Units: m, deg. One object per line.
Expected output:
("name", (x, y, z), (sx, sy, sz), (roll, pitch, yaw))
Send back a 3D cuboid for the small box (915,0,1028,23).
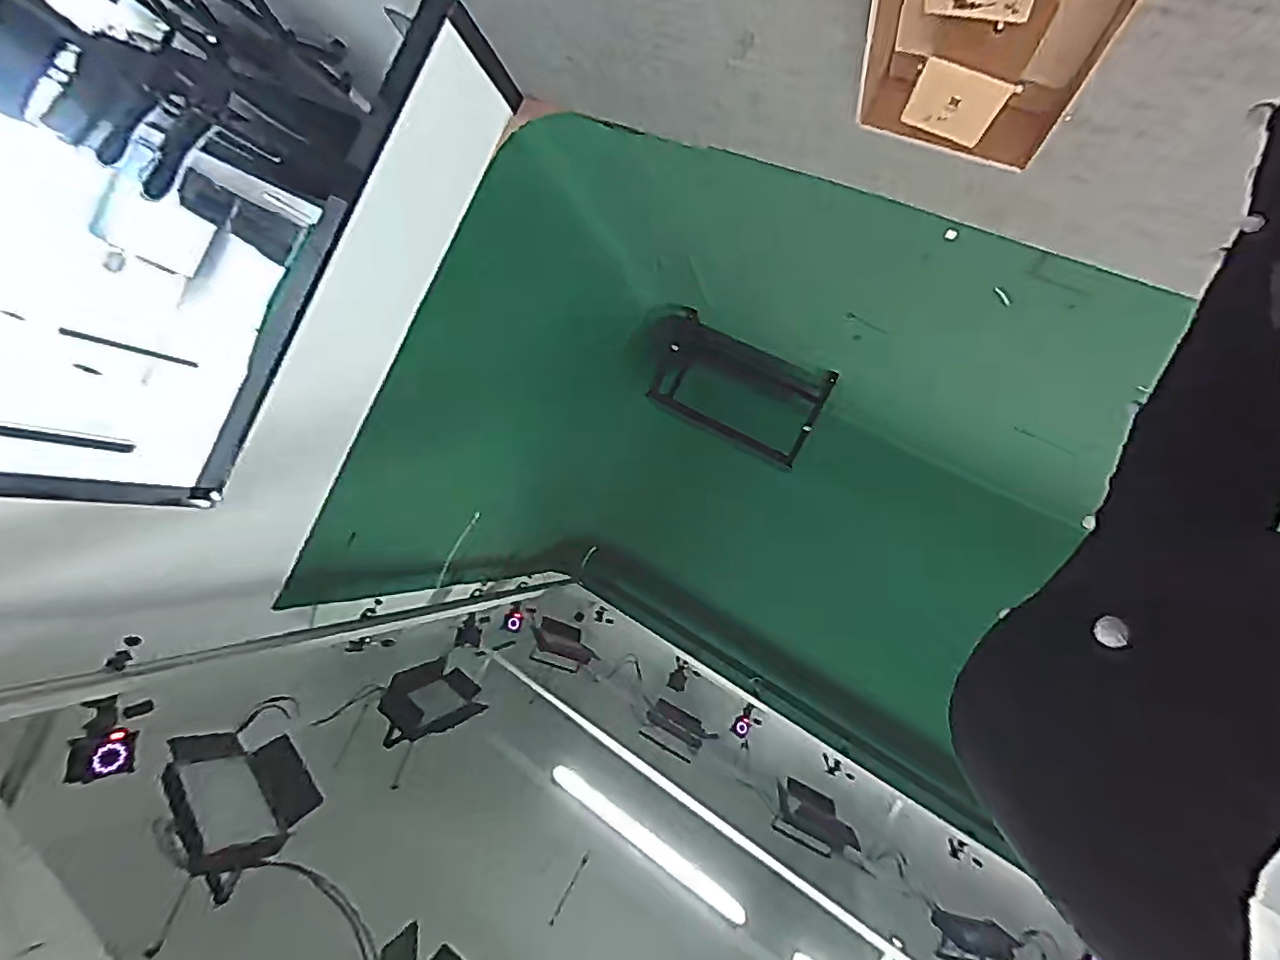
("small box", (0.547, -0.854, 0.816), (0.168, 0.176, 0.179), (28, -177, 21))
